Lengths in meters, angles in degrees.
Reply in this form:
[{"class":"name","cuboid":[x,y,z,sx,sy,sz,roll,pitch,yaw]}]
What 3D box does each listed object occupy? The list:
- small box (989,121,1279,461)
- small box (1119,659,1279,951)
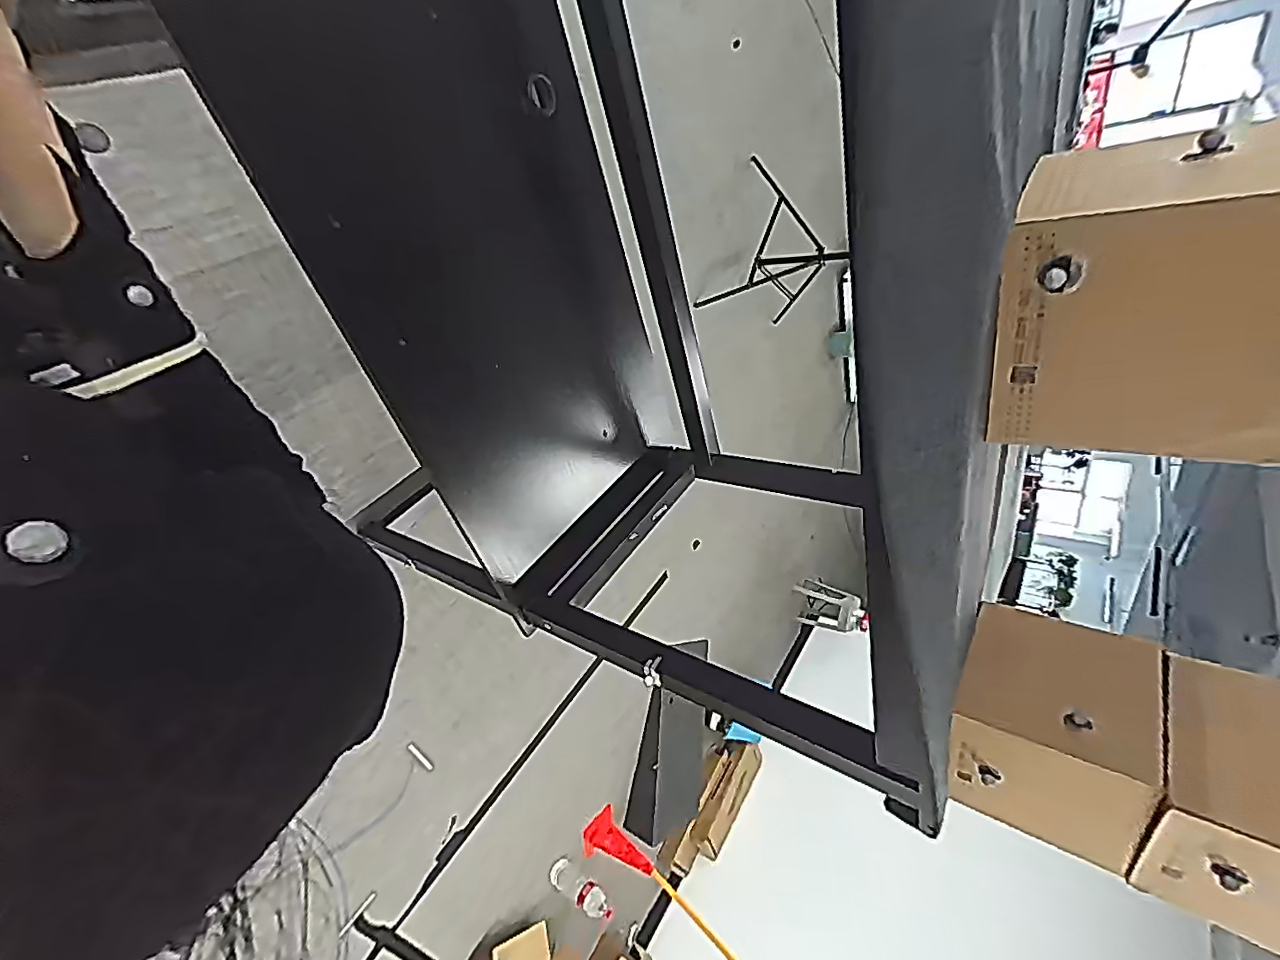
[{"class":"small box","cuboid":[0.364,-0.133,0.387,0.179,0.176,0.168,-48,134,-36]},{"class":"small box","cuboid":[0.577,0.302,0.504,0.179,0.176,0.168,-45,131,-35]}]
